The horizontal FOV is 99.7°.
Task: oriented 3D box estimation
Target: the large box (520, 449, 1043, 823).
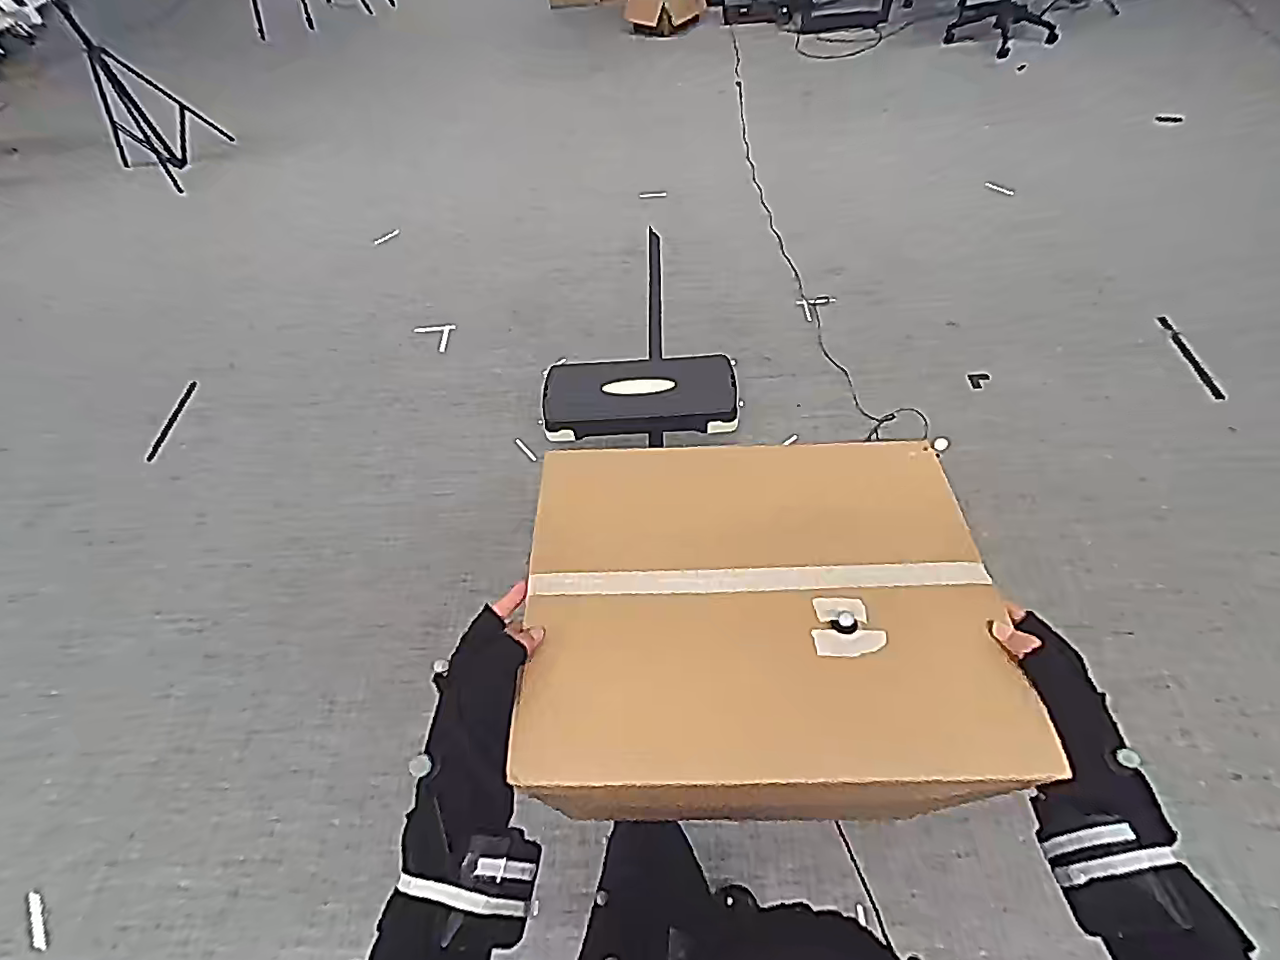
[{"bbox_3d":[0.106,0.186,0.612,0.408,0.320,0.320,-2,53,1],"label":"large box"}]
